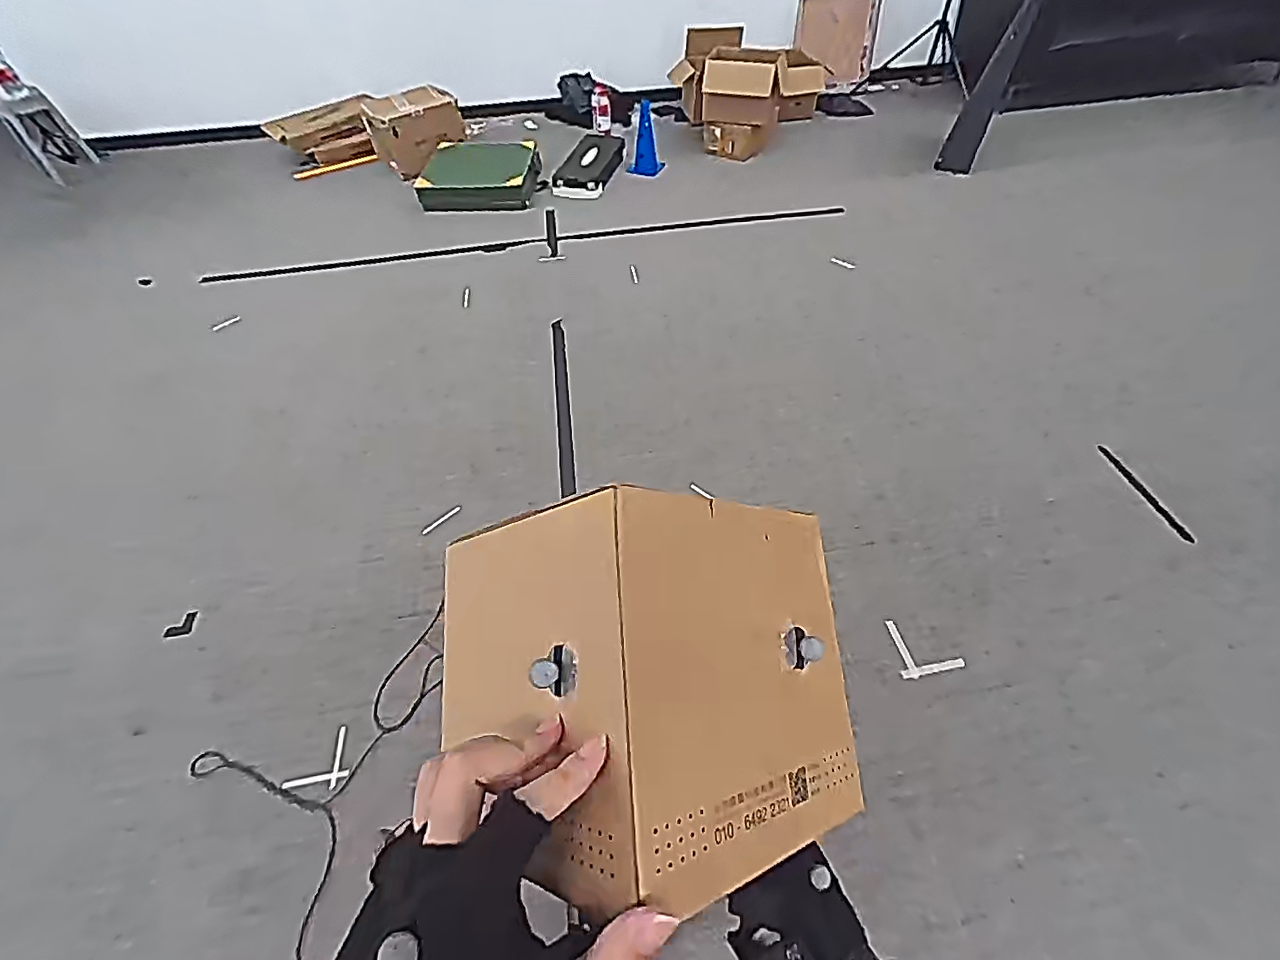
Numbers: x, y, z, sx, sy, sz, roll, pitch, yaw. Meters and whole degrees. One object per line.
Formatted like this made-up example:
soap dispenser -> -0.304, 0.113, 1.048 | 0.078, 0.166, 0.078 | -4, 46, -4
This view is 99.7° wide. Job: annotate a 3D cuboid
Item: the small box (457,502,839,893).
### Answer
small box -> 0.000, 0.118, 0.336 | 0.168, 0.179, 0.176 | 10, 69, -41
